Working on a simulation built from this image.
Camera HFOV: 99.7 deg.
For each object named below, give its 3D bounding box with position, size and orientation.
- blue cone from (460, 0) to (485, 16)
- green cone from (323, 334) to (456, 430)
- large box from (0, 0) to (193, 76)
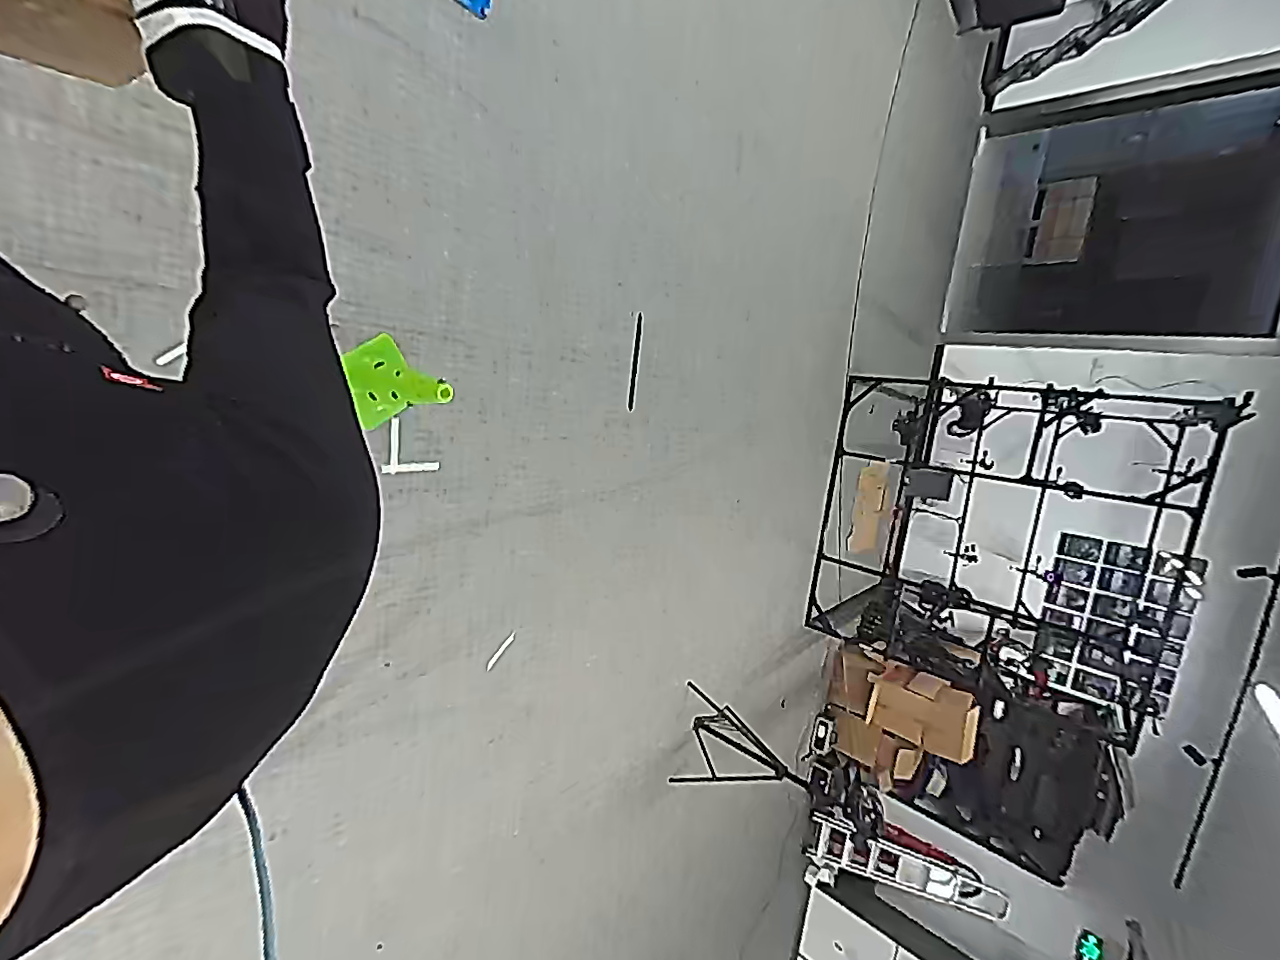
[{"bbox_3d":[-0.351,-1.338,1.316,0.192,0.380,0.193,2,100,-52],"label":"blue cone"},{"bbox_3d":[-0.582,-0.231,1.349,0.202,0.368,0.200,-48,135,-33],"label":"green cone"},{"bbox_3d":[-0.547,-0.488,0.288,0.408,0.320,0.320,-13,119,-49],"label":"large box"}]
